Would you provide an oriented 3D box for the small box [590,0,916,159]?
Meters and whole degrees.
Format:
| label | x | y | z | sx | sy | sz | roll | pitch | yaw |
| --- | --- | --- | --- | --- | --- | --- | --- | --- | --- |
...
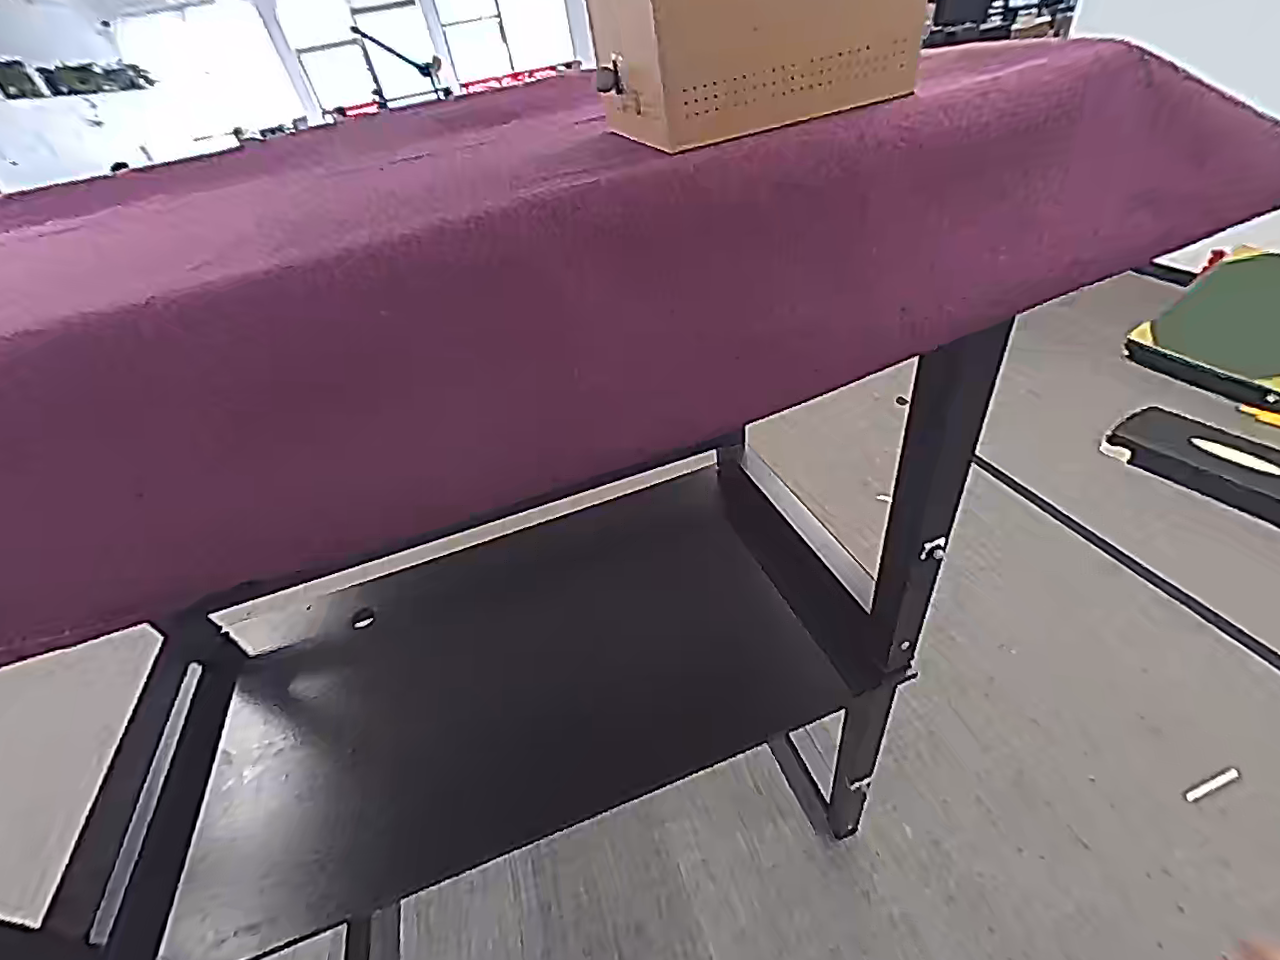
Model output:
| label | x | y | z | sx | sy | sz | roll | pitch | yaw |
| --- | --- | --- | --- | --- | --- | --- | --- | --- | --- |
| small box | 0.063 | -0.331 | 0.352 | 0.179 | 0.176 | 0.168 | -18 | 39 | -7 |
